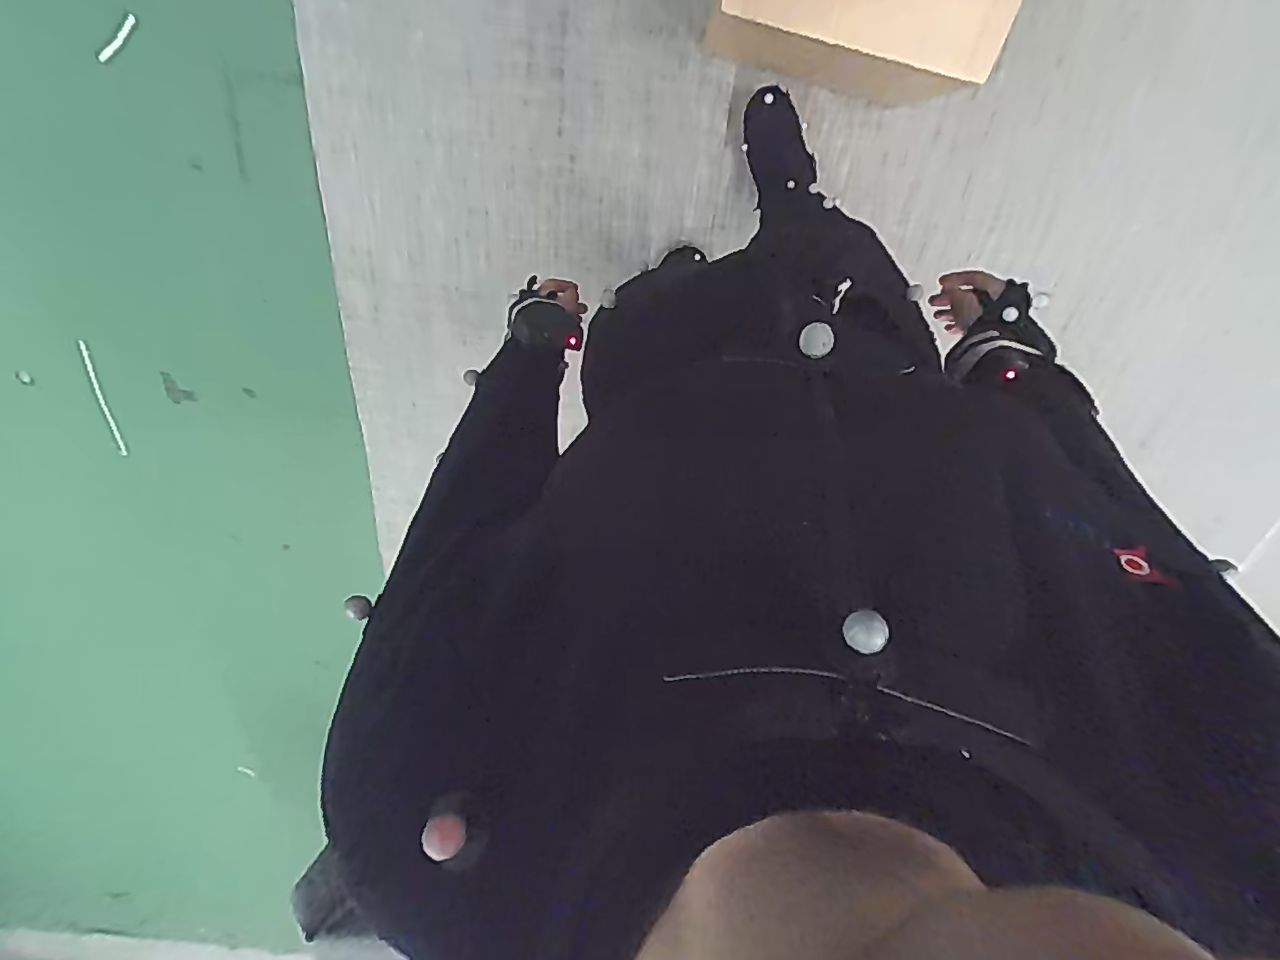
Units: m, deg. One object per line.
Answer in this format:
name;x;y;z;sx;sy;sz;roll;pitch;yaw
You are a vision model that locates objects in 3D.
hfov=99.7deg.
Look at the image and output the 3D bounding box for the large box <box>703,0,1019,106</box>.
large box;0.337;-0.814;0.827;0.408;0.320;0.320;10;120;-6
